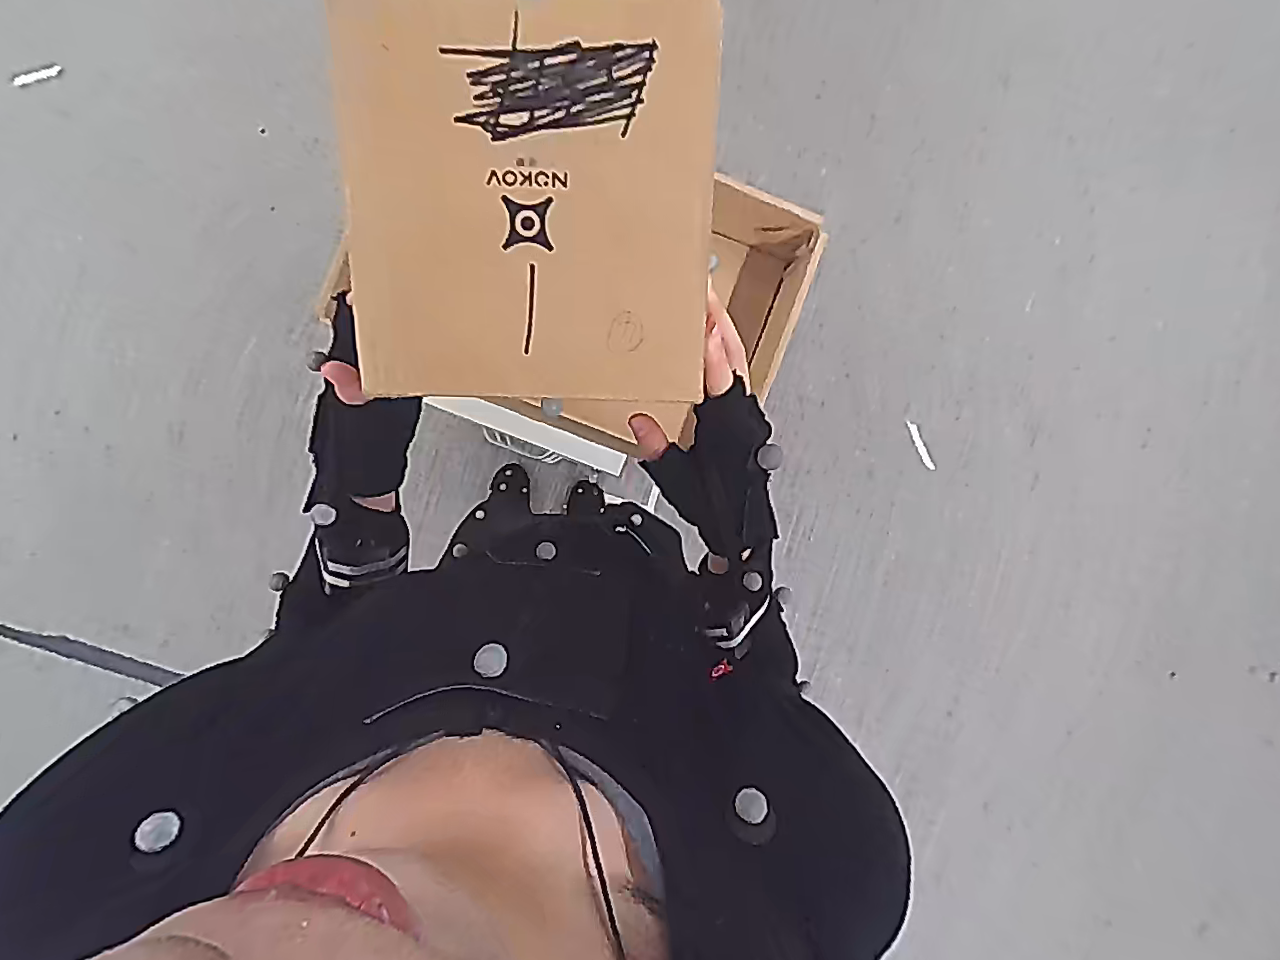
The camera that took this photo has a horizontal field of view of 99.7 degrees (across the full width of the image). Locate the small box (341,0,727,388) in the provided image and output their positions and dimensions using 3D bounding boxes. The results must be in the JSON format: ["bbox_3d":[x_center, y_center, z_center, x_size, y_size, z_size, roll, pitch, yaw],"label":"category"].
[{"bbox_3d":[-0.050,-0.145,0.320,0.168,0.176,0.179,1,100,-2],"label":"small box"}]
